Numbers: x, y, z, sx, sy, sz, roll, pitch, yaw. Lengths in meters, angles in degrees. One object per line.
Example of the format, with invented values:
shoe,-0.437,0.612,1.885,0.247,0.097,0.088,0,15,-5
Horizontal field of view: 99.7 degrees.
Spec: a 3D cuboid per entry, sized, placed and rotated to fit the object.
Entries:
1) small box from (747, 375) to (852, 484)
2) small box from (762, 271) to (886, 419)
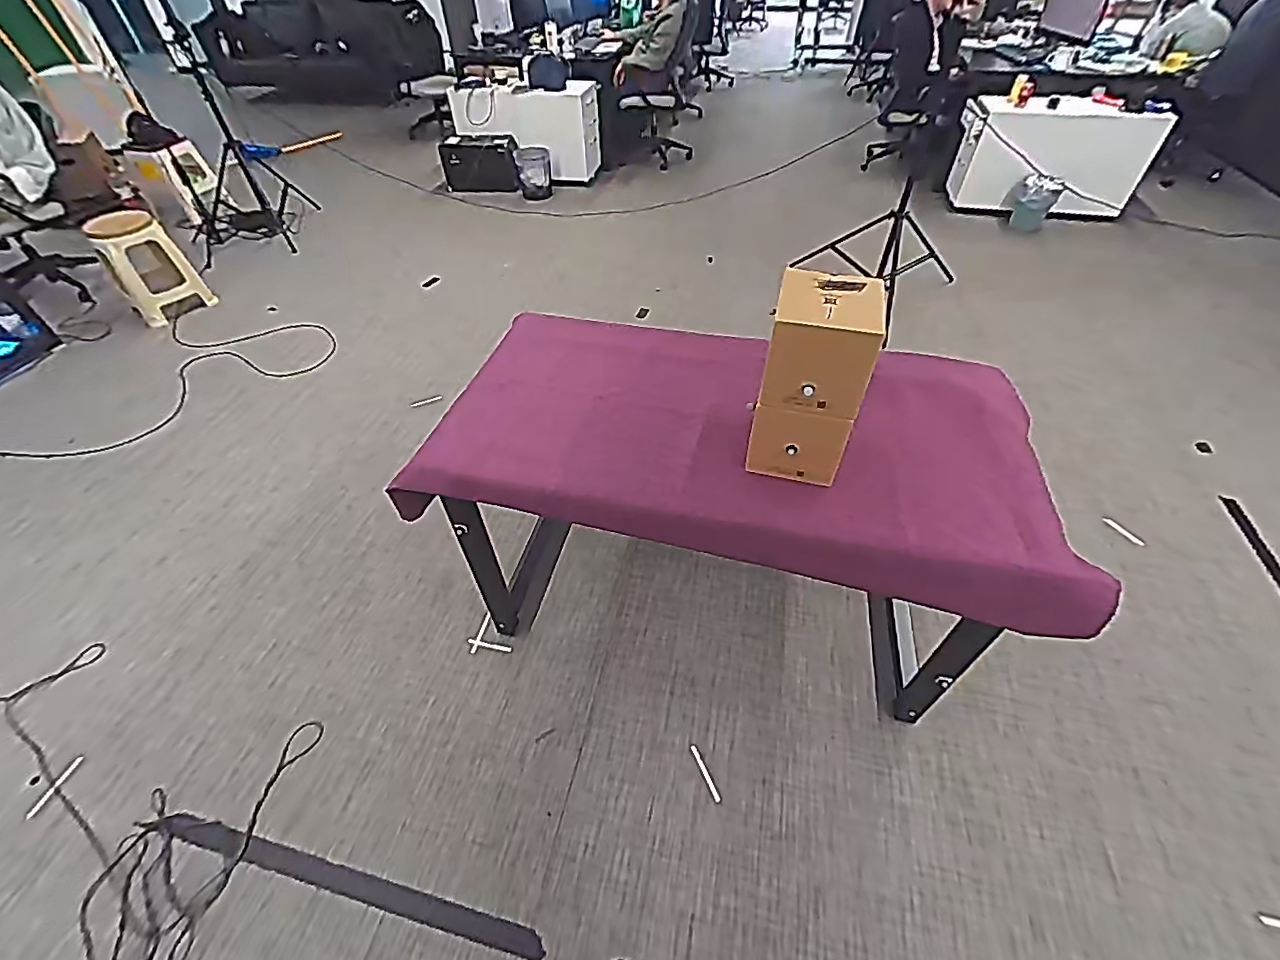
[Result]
small box,0.307,-0.117,1.044,0.168,0.176,0.179,12,48,11
small box,0.309,-0.232,0.926,0.168,0.176,0.179,11,48,12
